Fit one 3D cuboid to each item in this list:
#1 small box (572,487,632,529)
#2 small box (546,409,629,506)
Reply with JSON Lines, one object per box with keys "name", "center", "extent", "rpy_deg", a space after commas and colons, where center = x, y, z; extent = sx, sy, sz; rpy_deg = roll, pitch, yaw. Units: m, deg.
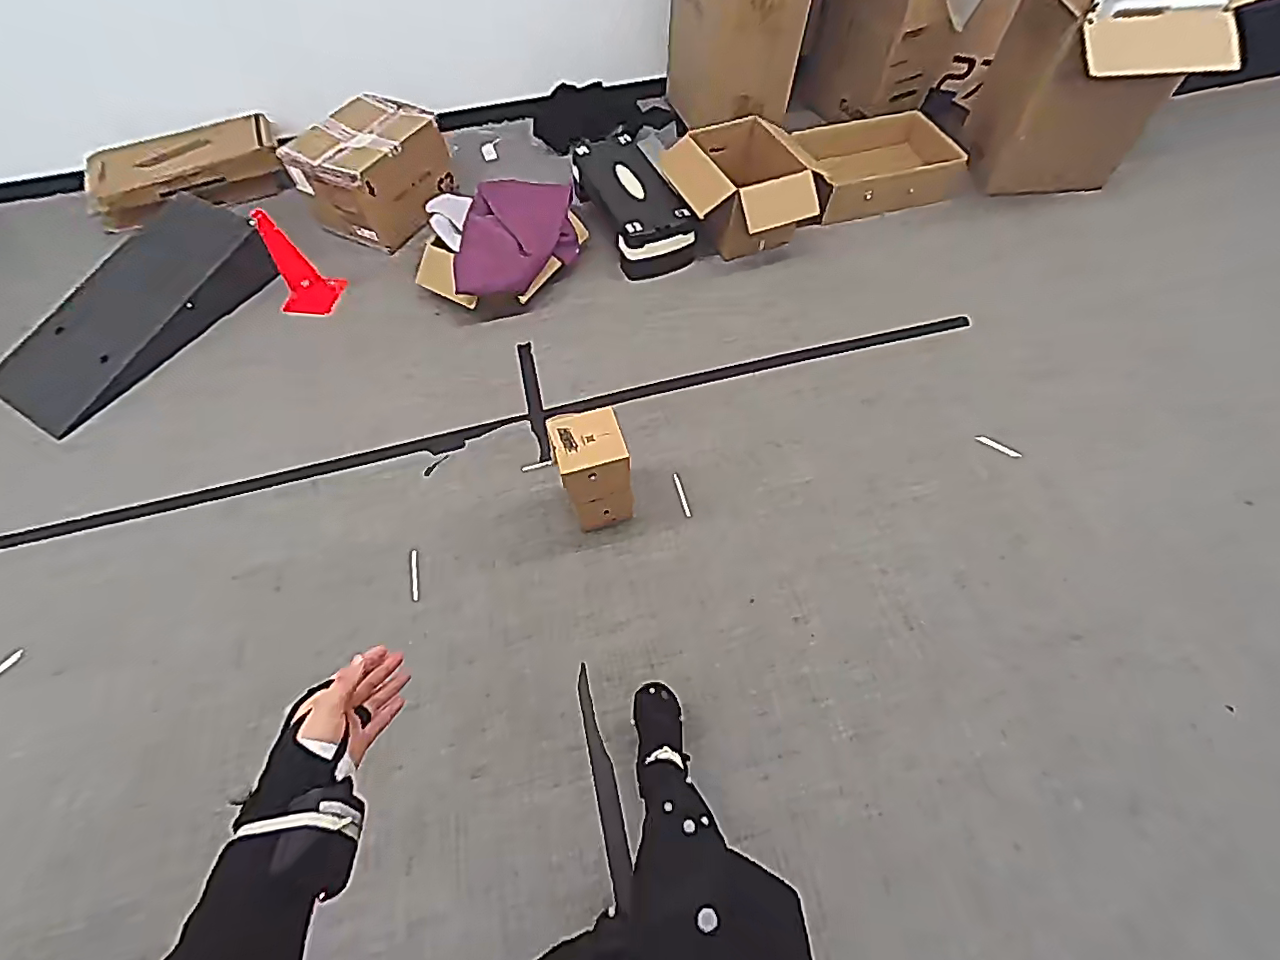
{"name": "small box", "center": [-0.124, 0.027, 1.556], "extent": [0.168, 0.176, 0.179], "rpy_deg": [-16, 61, -8]}
{"name": "small box", "center": [-0.132, -0.053, 1.411], "extent": [0.179, 0.176, 0.168], "rpy_deg": [-15, 60, -8]}
